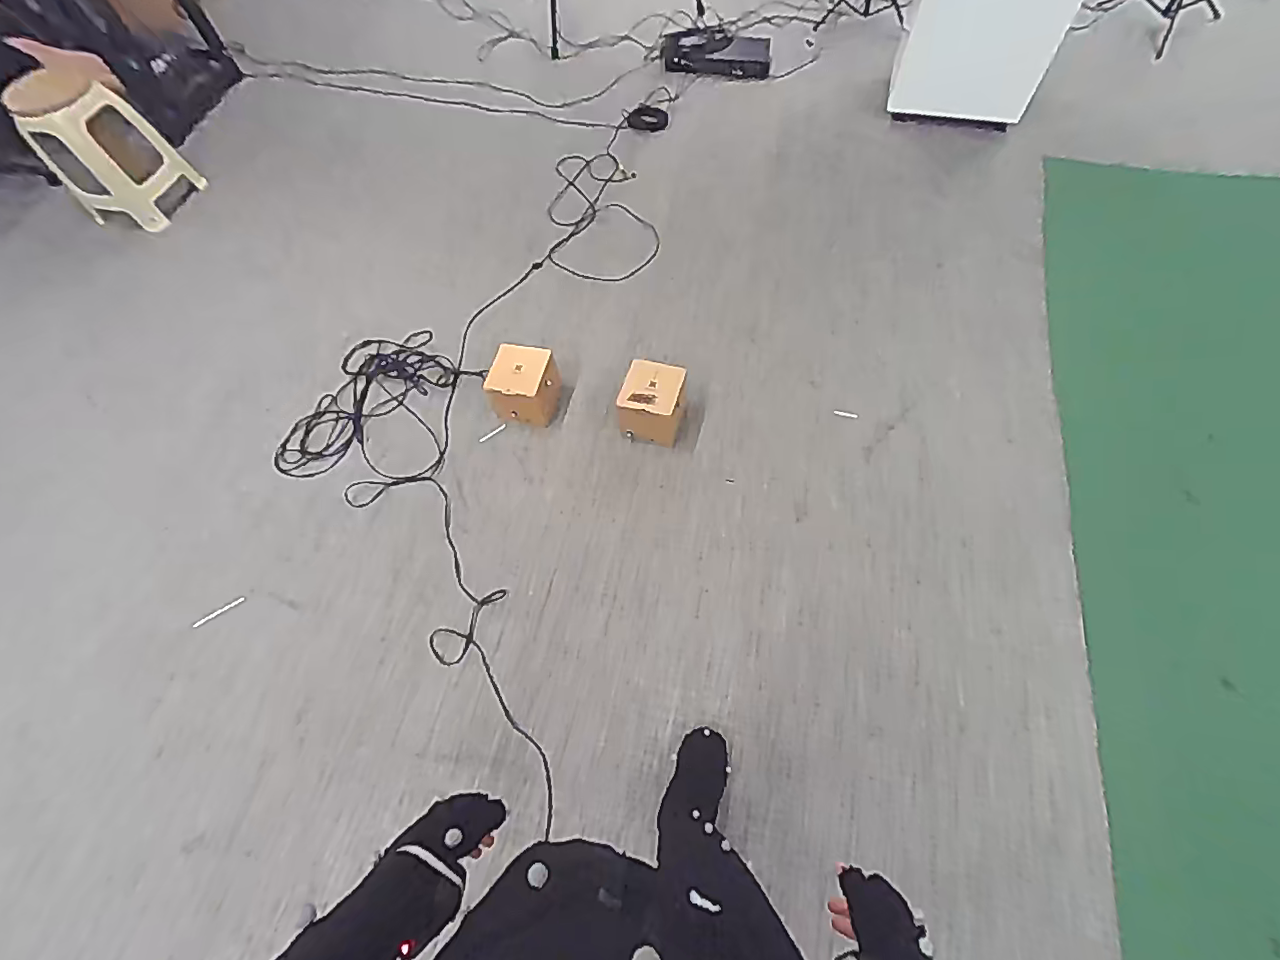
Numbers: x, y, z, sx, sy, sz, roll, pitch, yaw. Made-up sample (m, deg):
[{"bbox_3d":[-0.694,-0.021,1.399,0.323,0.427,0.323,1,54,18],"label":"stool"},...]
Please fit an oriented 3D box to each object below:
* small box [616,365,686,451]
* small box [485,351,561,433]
[{"bbox_3d":[0.039,-0.211,1.619,0.168,0.176,0.179,14,64,11],"label":"small box"},{"bbox_3d":[-0.354,-0.273,1.683,0.168,0.176,0.179,9,64,9],"label":"small box"}]
